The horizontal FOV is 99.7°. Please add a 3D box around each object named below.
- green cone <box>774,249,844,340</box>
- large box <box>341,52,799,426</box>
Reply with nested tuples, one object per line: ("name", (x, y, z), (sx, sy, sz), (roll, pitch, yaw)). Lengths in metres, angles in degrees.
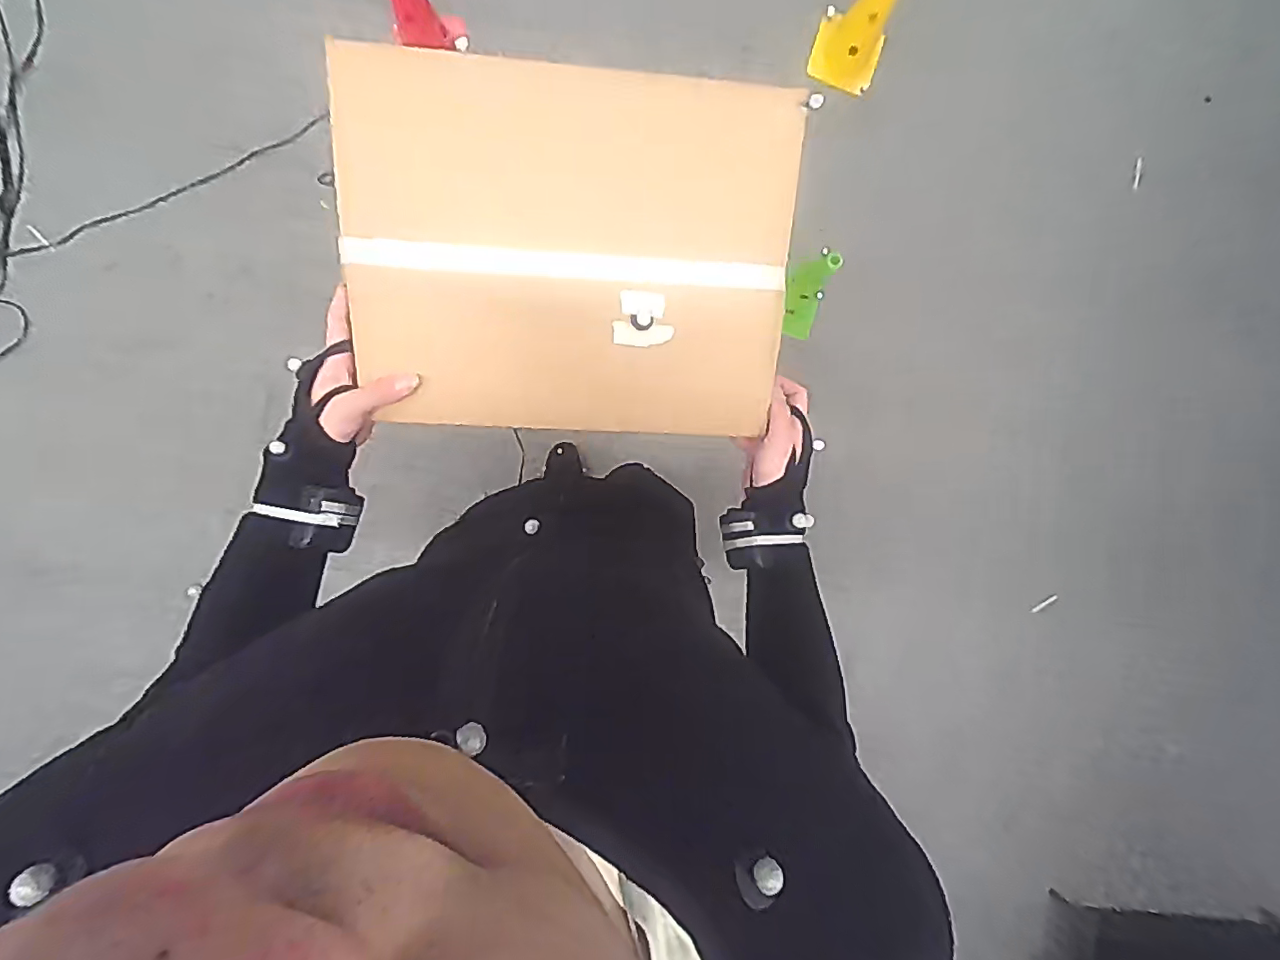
("green cone", (0.459, -0.538, 1.479), (0.200, 0.368, 0.202), (15, 90, -6))
("large box", (-0.074, -0.248, 0.651), (0.408, 0.320, 0.320), (1, 107, -6))
